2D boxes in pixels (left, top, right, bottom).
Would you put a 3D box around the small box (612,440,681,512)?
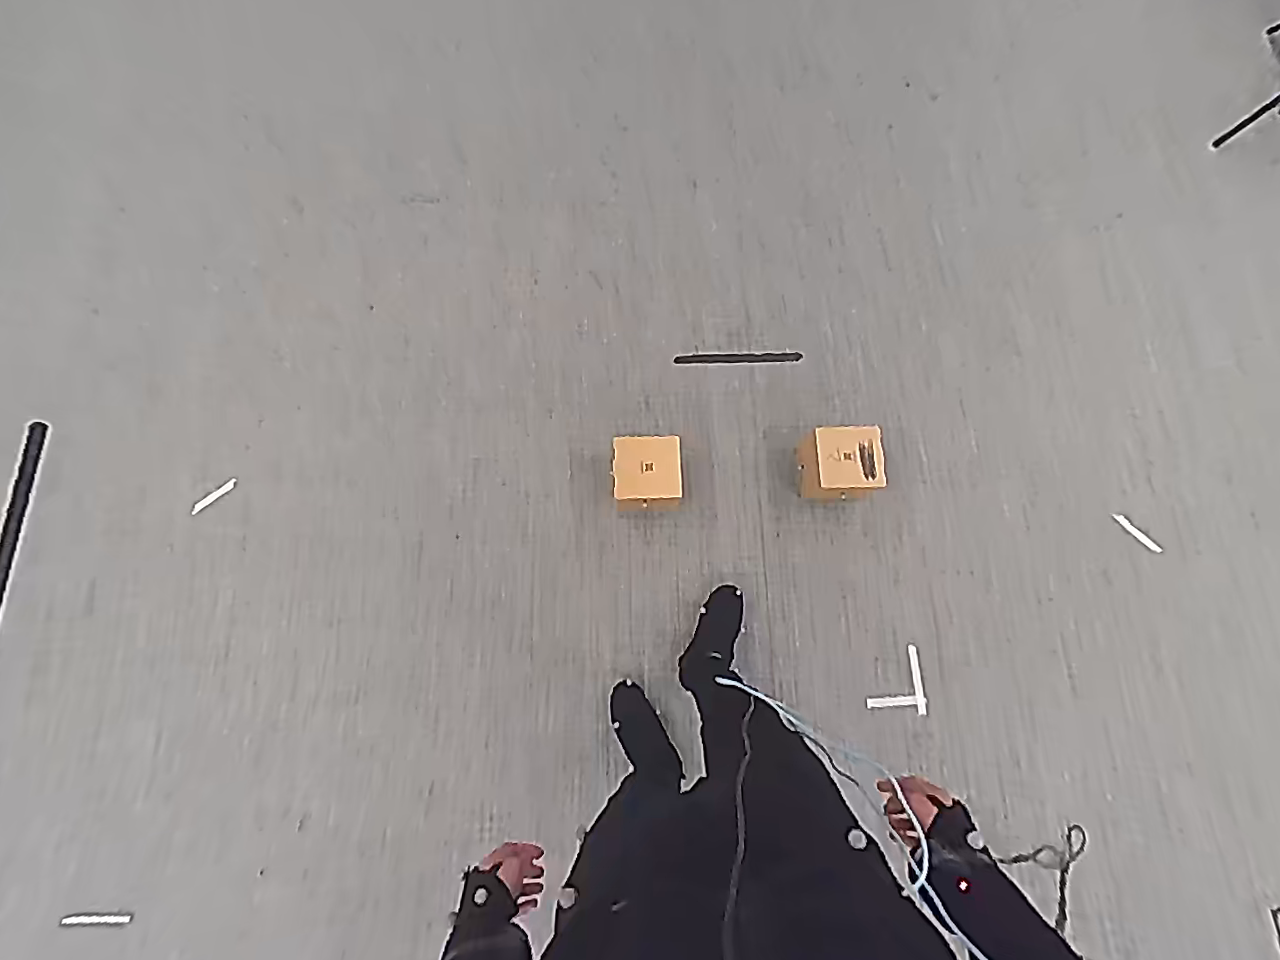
[{"bbox_3d":[0.014,-0.007,1.469,0.179,0.176,0.168,-2,77,-1],"label":"small box"}]
